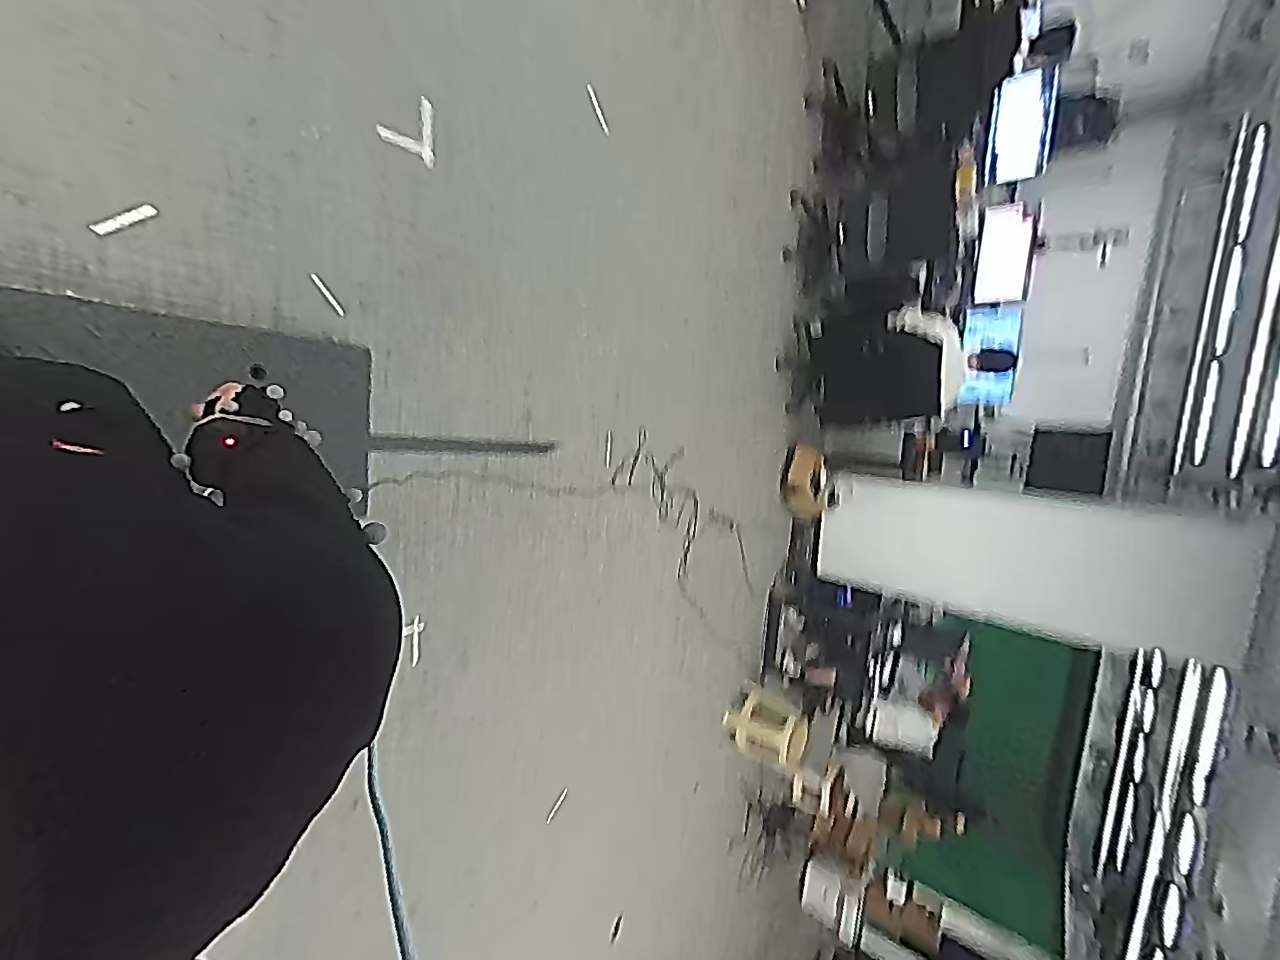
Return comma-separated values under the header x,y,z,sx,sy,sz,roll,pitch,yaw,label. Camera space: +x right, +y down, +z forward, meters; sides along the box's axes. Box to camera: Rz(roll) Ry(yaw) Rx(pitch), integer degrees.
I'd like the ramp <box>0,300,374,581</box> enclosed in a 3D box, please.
x,y,z,sx,sy,sz,roll,pitch,yaw,label
-1.009,-0.082,1.124,0.991,0.206,0.509,-8,101,-51,ramp
